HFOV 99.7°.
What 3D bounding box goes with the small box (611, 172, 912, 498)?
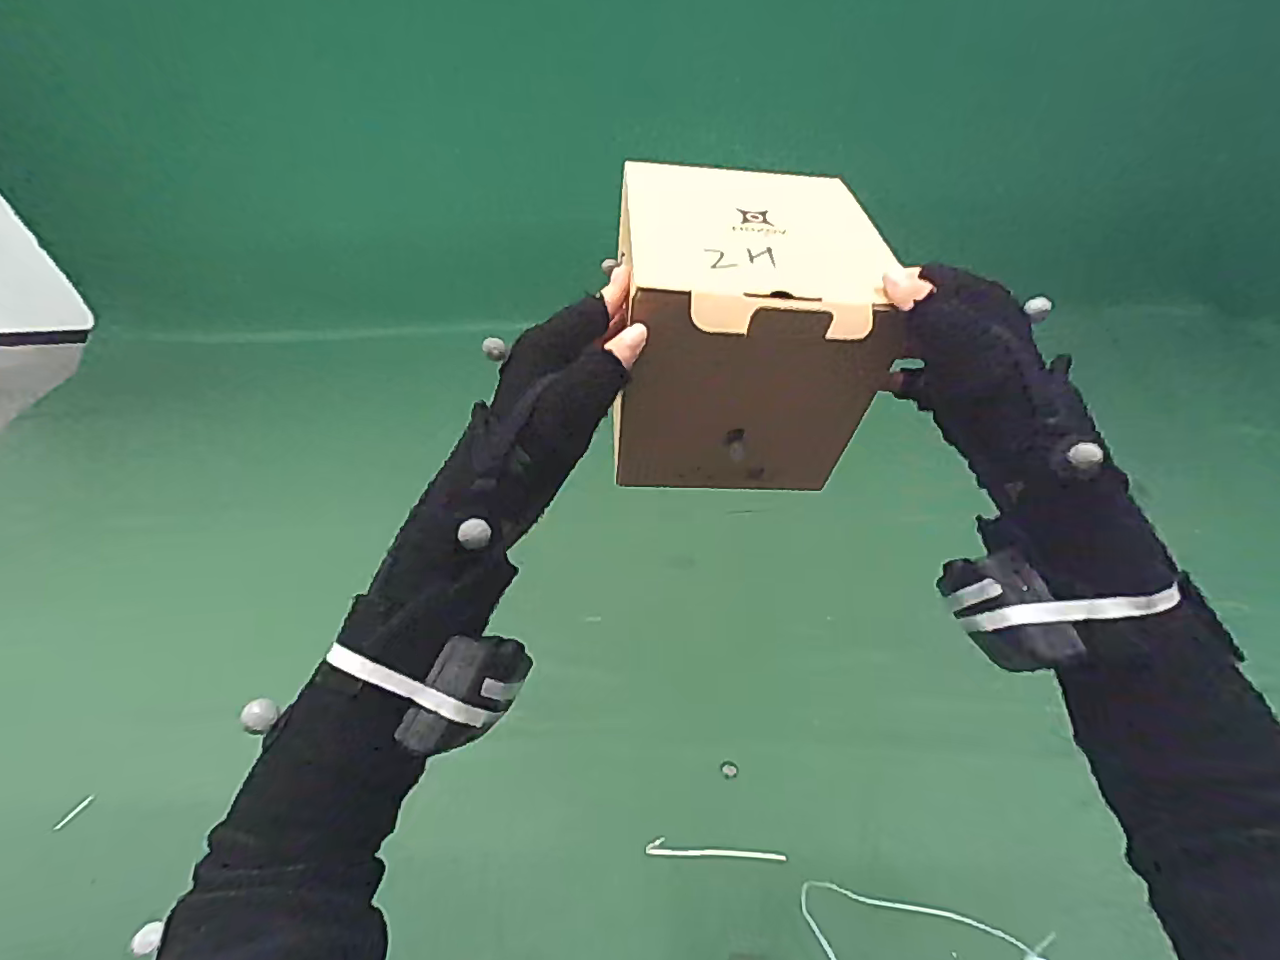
[{"bbox_3d":[0.064,-0.107,0.413,0.168,0.176,0.179,1,50,-5],"label":"small box"}]
